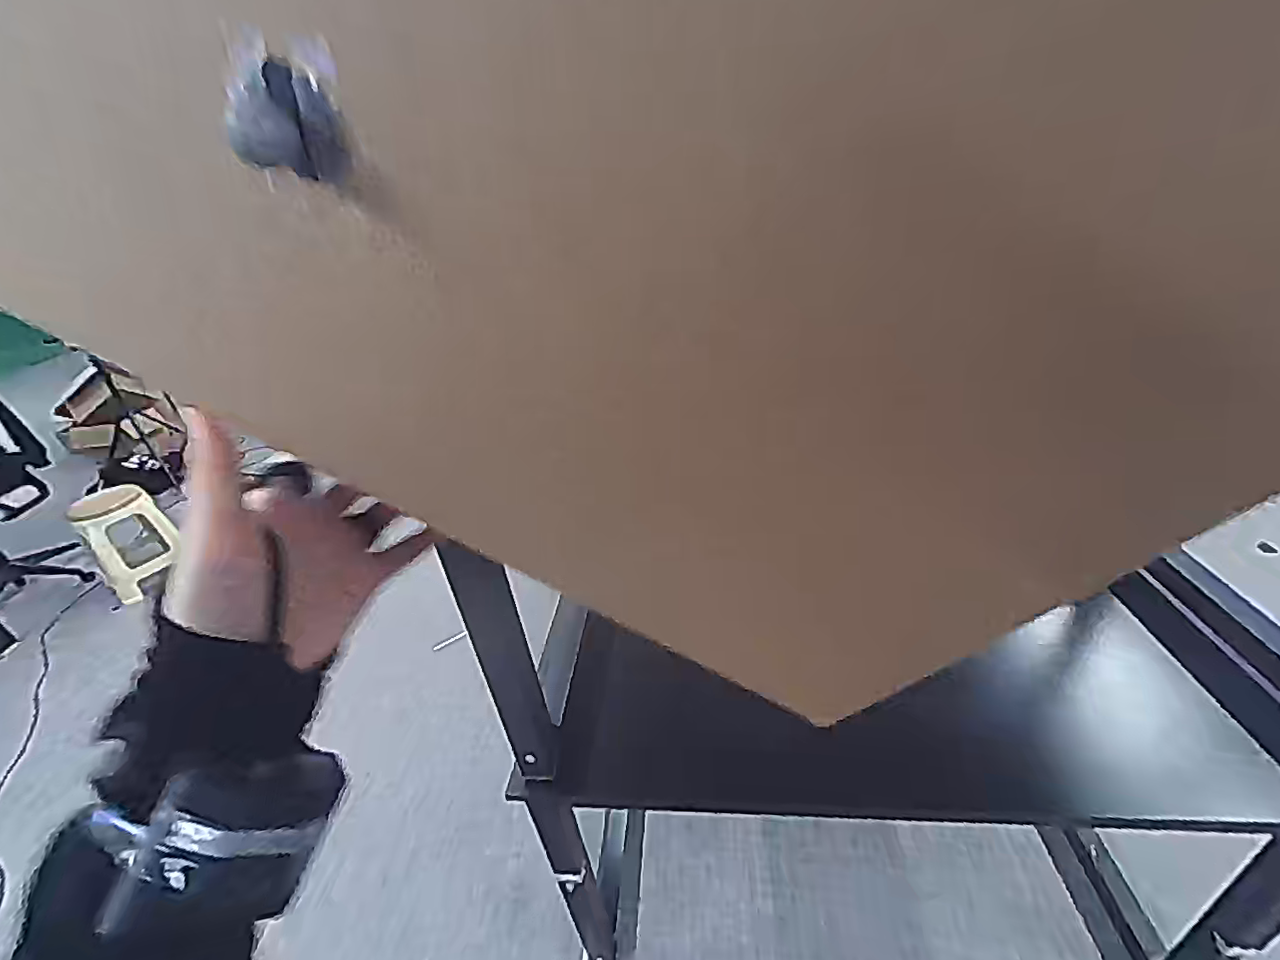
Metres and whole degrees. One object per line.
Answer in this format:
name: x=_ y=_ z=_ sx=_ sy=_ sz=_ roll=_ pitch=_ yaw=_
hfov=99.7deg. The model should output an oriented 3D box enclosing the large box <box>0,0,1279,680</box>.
large box: x=-0.016 y=-0.186 z=0.206 sx=0.408 sy=0.320 sz=0.320 roll=25 pitch=49 yaw=4
